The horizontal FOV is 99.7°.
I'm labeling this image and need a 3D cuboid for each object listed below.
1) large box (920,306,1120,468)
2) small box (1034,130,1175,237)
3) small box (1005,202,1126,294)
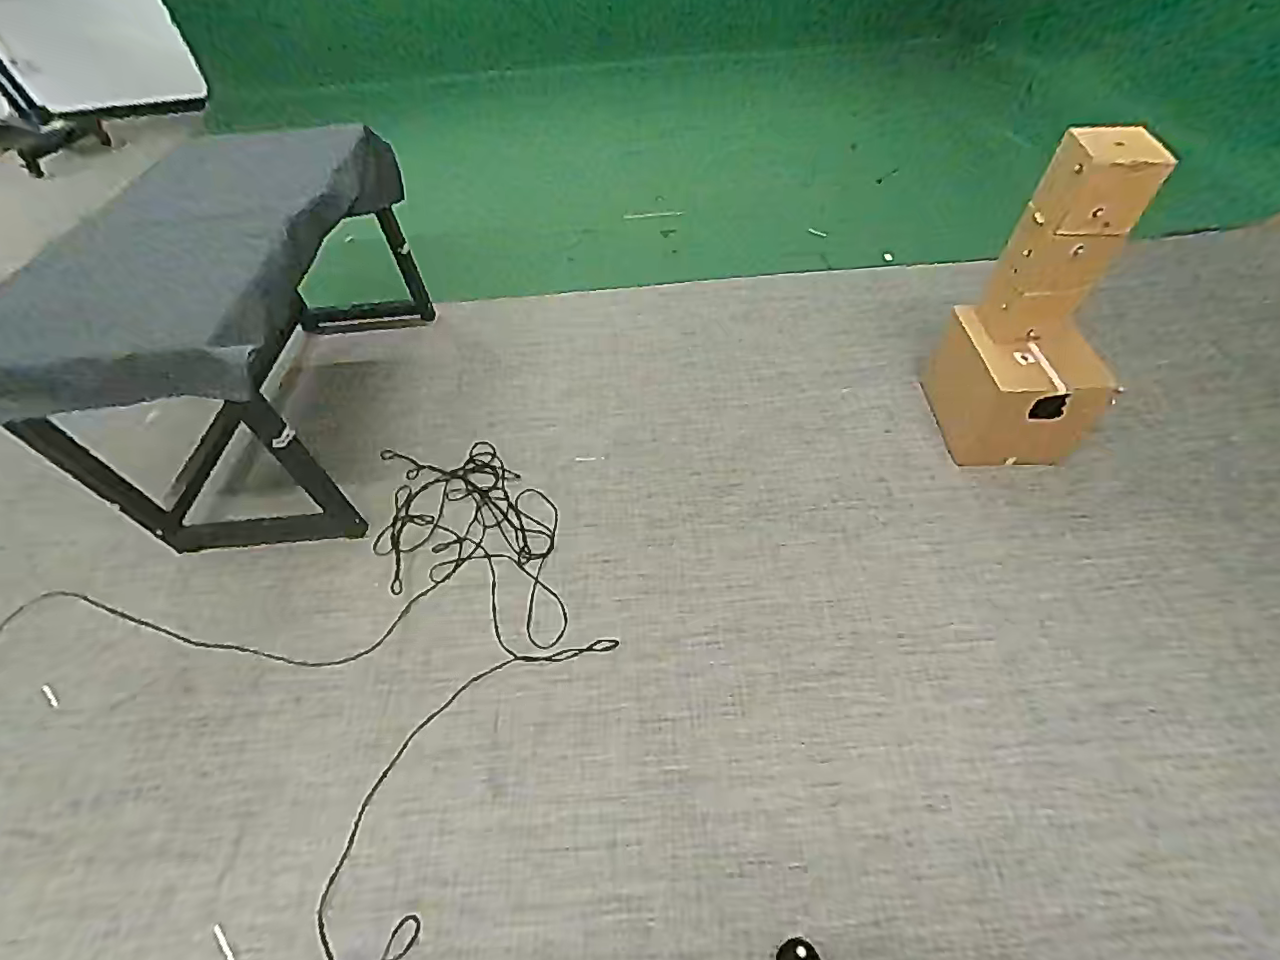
[{"bbox_3d":[1.135,-0.289,1.680,0.320,0.320,0.408,-2,53,4],"label":"large box"},{"bbox_3d":[1.084,-0.703,1.284,0.168,0.176,0.179,3,55,5],"label":"small box"},{"bbox_3d":[1.092,-0.604,1.413,0.179,0.176,0.168,2,54,4],"label":"small box"}]
